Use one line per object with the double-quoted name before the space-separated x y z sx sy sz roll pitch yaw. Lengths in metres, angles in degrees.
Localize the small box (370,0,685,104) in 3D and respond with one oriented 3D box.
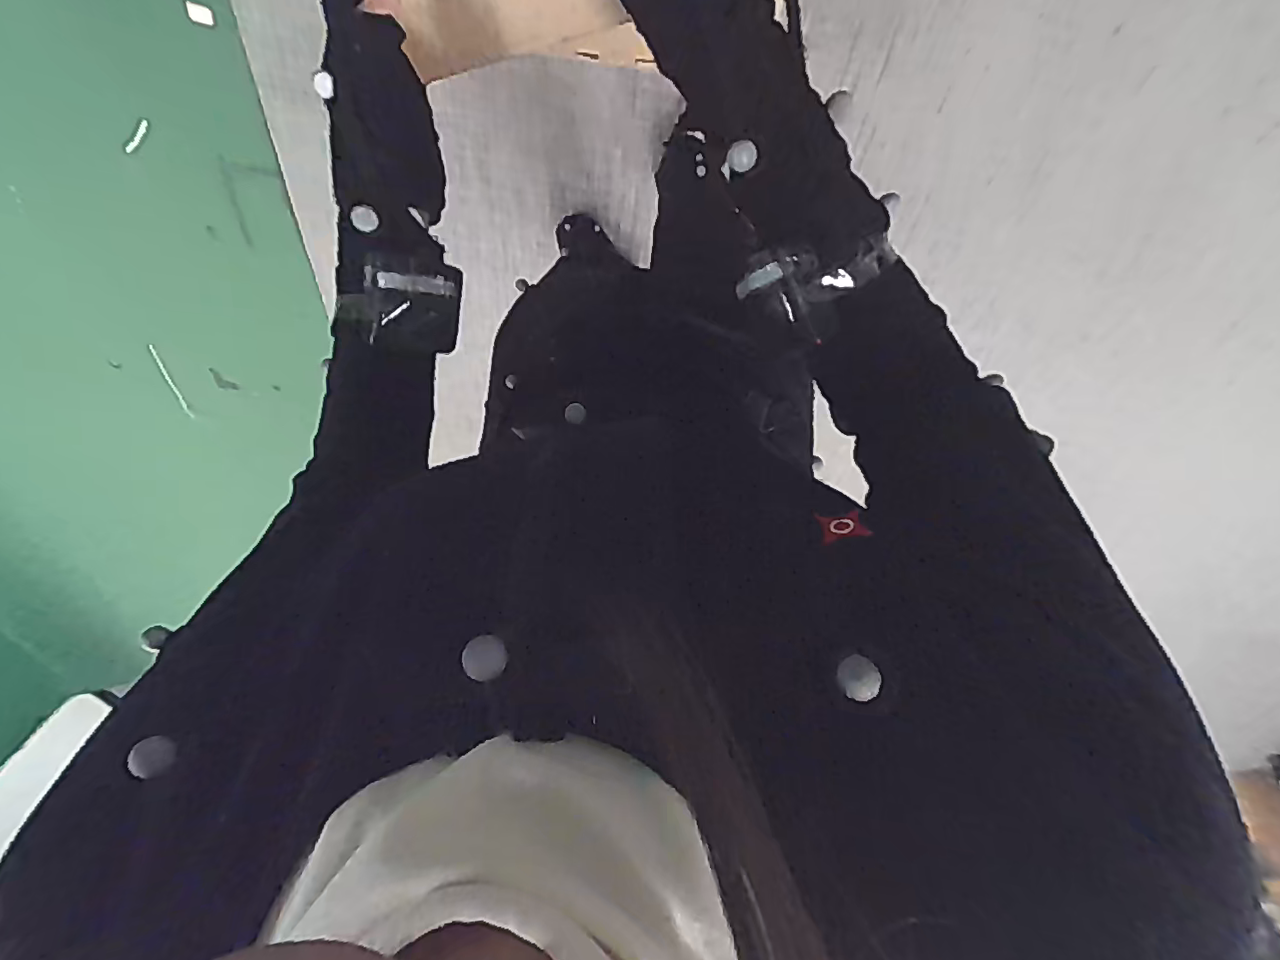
"small box" -0.074 -0.364 0.305 0.179 0.176 0.168 -5 147 20
